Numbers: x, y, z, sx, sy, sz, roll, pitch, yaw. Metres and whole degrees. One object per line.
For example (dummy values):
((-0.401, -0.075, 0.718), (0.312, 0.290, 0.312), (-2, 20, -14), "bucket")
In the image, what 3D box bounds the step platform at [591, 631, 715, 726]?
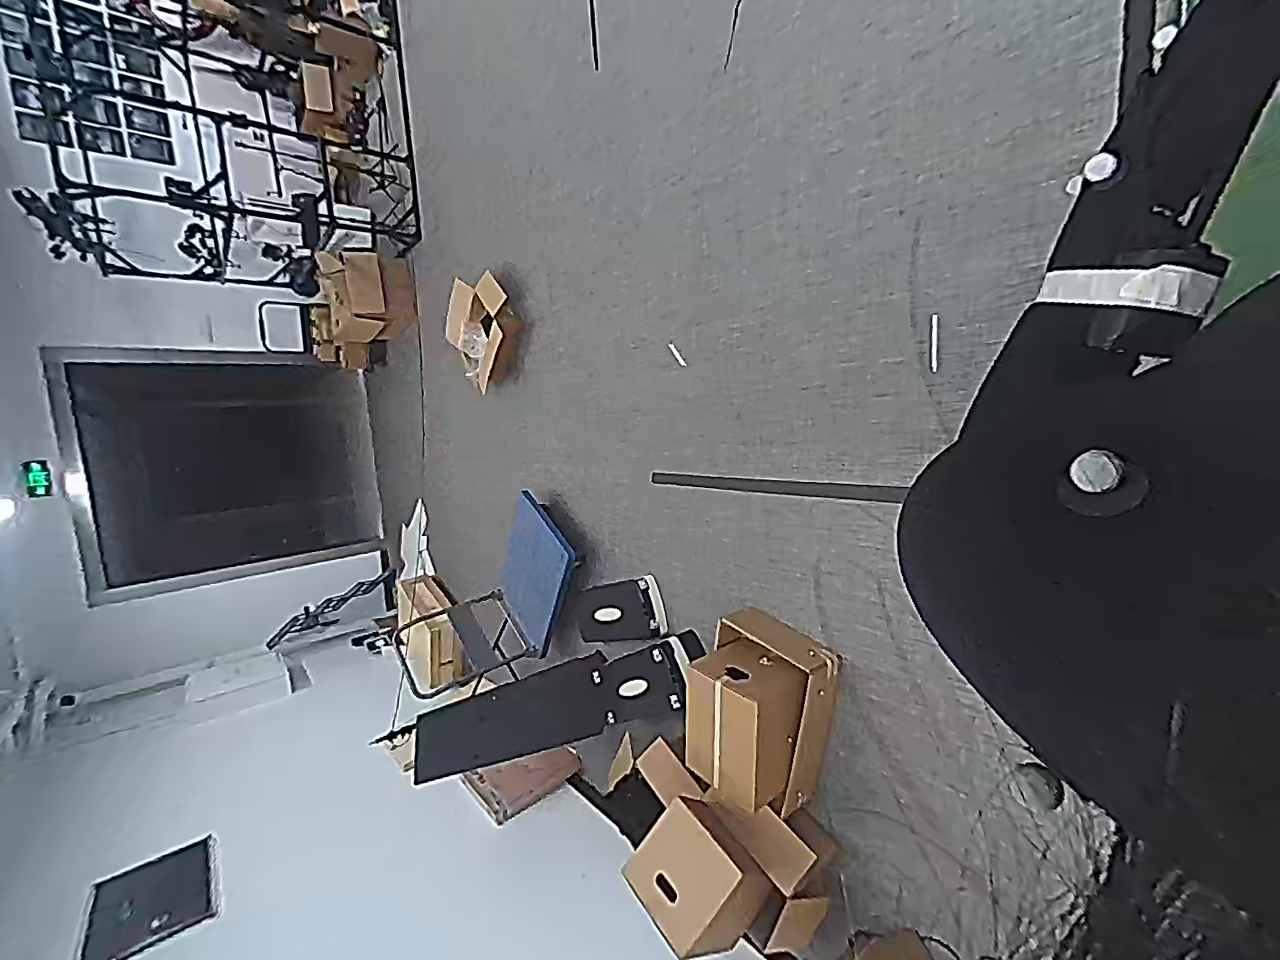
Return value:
((0.031, 0.925, 2.482), (0.684, 0.204, 0.286), (-40, 66, 46), "step platform")
